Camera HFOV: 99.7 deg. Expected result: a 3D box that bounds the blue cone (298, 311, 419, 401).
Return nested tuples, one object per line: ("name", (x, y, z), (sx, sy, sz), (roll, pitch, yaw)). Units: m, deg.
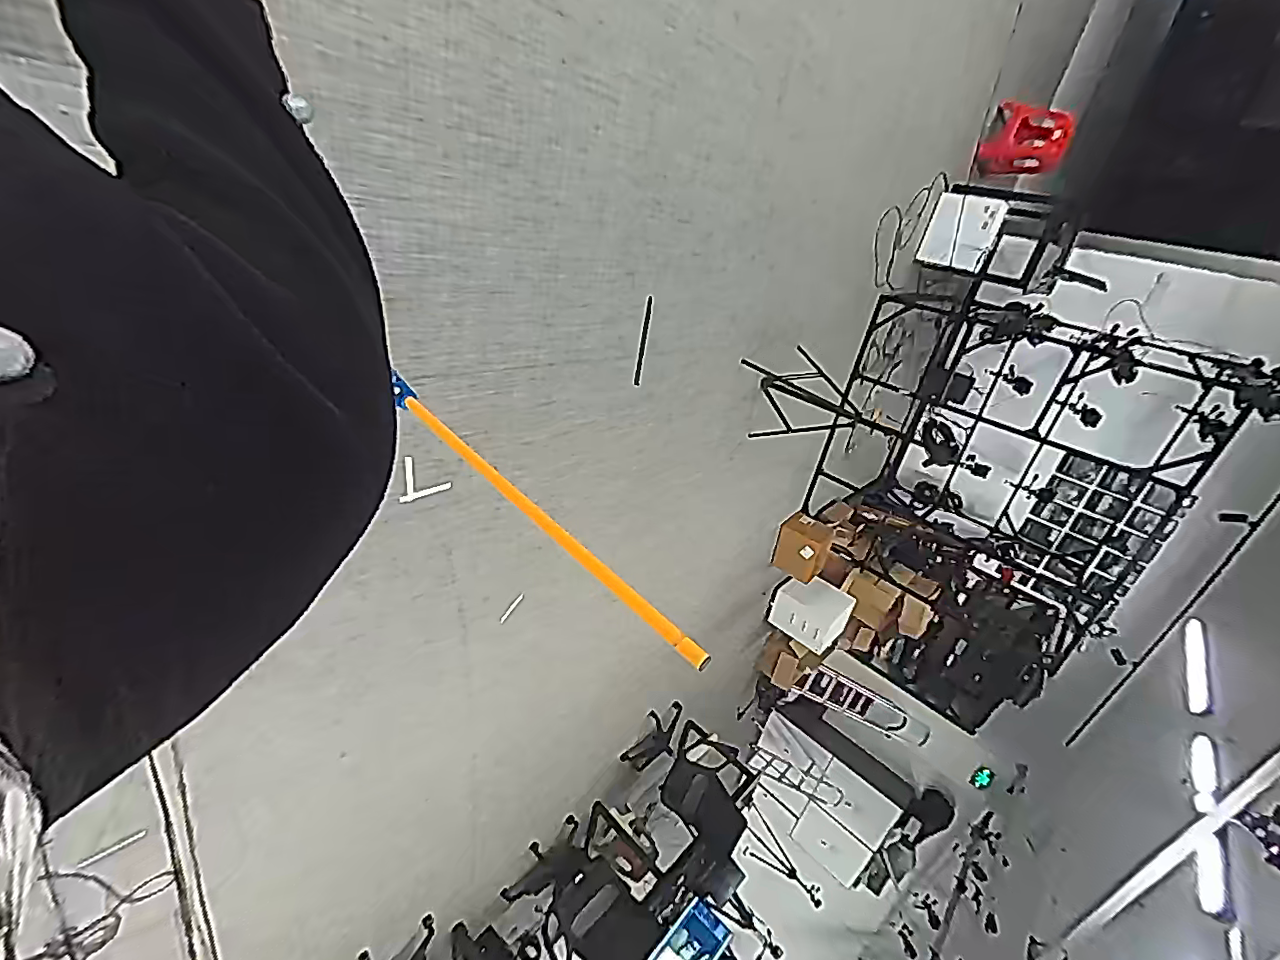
("blue cone", (-0.626, -0.255, 1.274), (0.193, 0.380, 0.192), (-23, 132, -42))
